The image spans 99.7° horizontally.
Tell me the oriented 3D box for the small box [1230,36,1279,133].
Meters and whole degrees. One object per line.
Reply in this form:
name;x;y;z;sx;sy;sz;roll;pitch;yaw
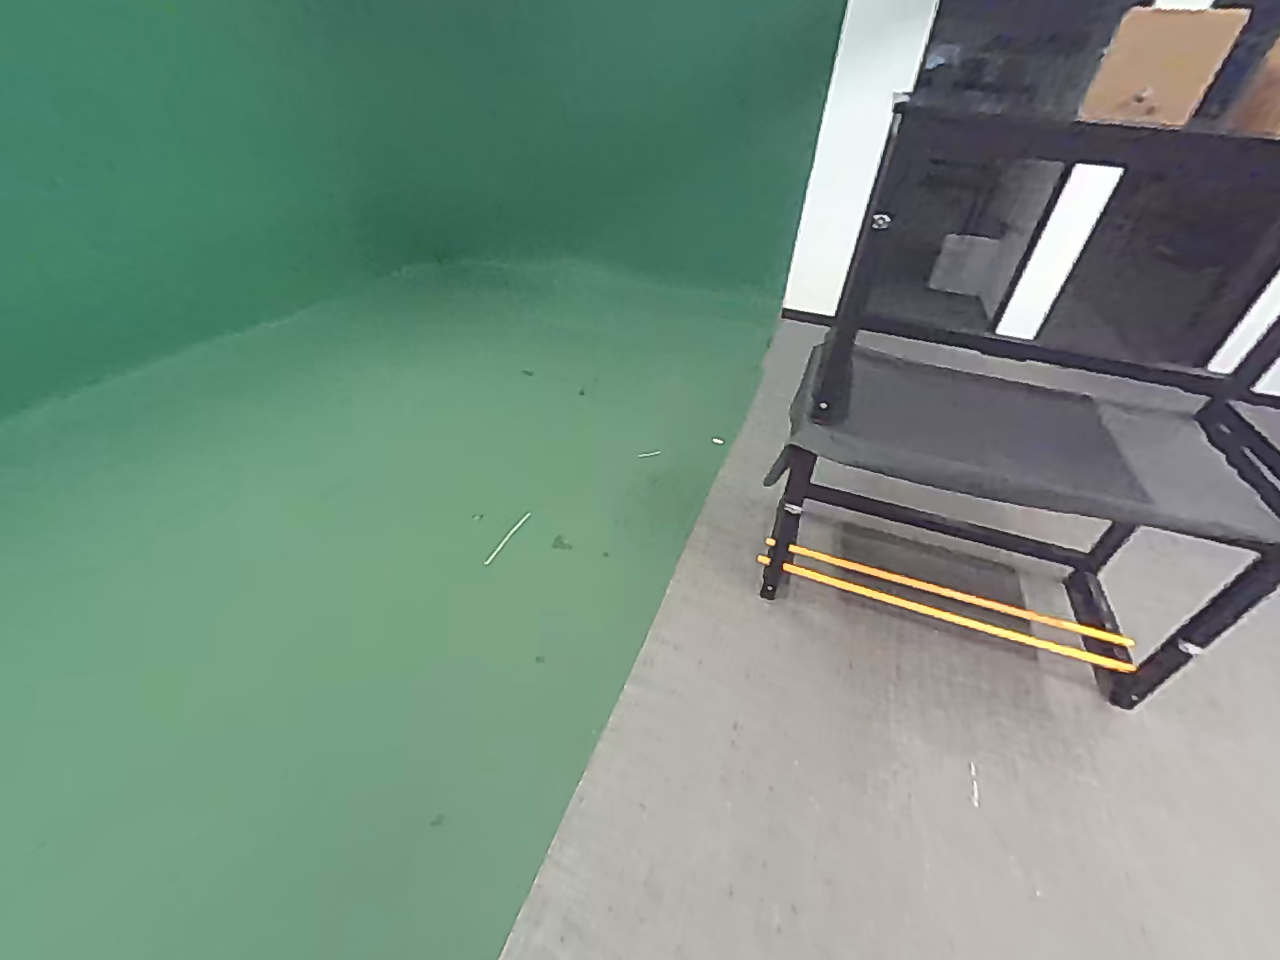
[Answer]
small box;1.230;-0.706;0.950;0.168;0.176;0.179;12;38;10
